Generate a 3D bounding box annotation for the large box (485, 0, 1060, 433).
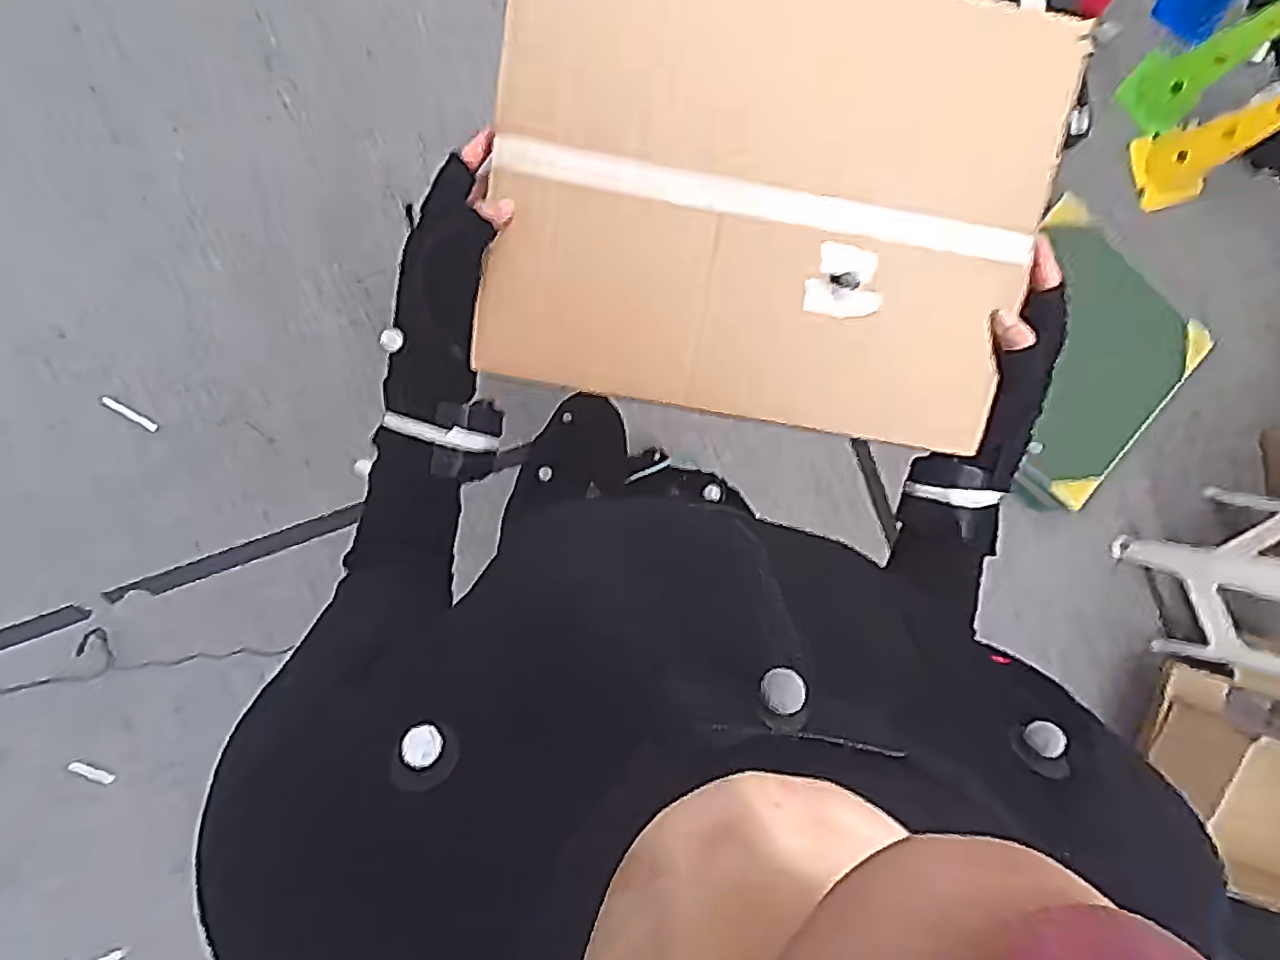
[{"bbox_3d":[0.086,-0.241,0.558,0.408,0.320,0.320,9,101,-4],"label":"large box"}]
